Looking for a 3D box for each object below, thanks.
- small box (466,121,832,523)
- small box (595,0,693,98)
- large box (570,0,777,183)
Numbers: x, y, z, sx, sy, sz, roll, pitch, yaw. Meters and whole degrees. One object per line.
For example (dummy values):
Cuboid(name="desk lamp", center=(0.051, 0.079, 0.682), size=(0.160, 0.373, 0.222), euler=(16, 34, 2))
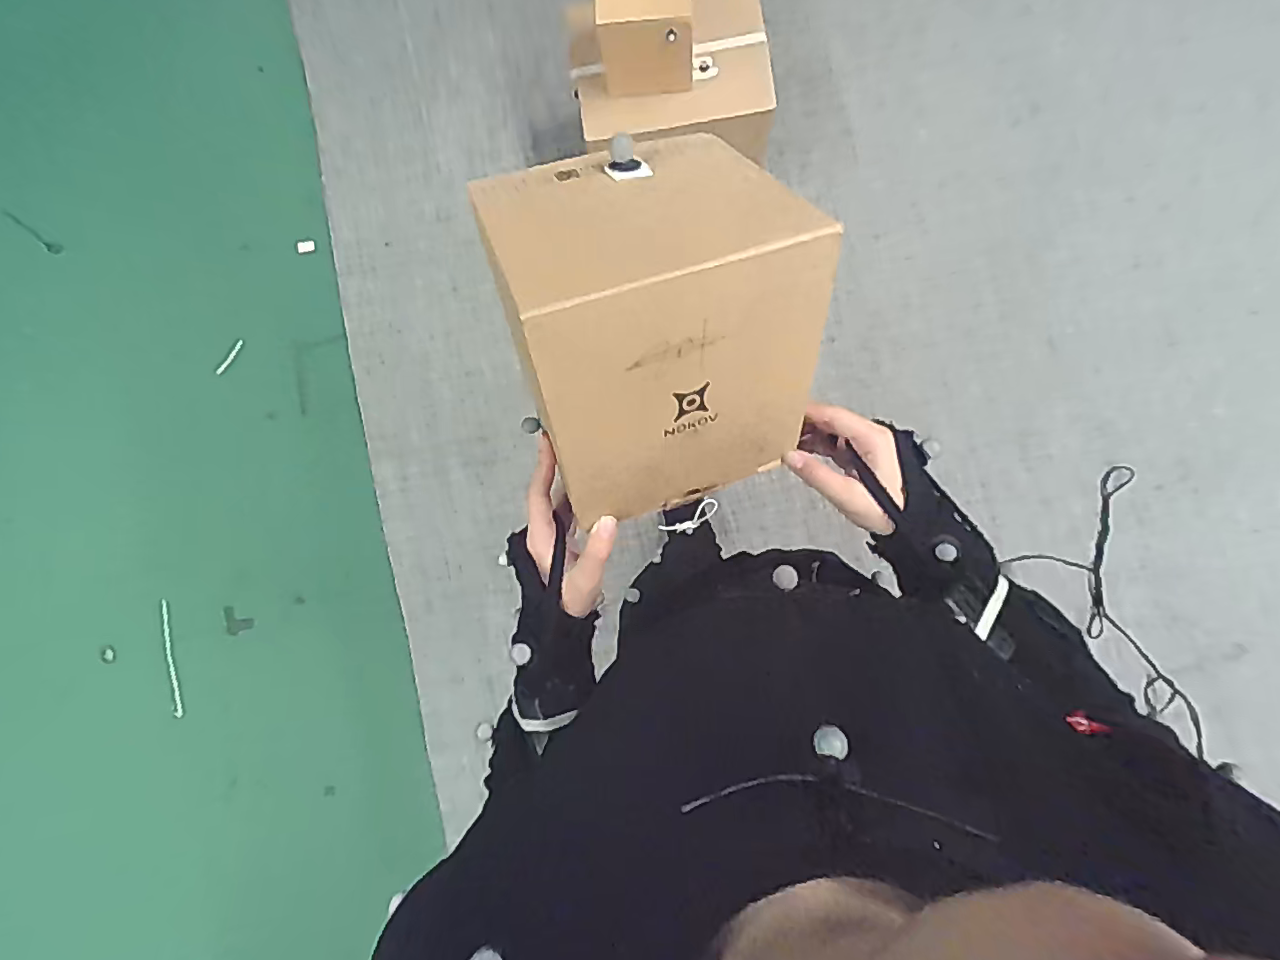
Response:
Cuboid(name="small box", center=(-0.002, -0.106, 0.365), size=(0.168, 0.179, 0.176), euler=(-20, 50, -9))
Cuboid(name="small box", center=(0.012, -0.876, 1.041), size=(0.179, 0.176, 0.168), euler=(-2, 85, 4))
Cuboid(name="large box", center=(0.073, -0.863, 1.280), size=(0.408, 0.320, 0.320), euler=(-8, 86, 2))
